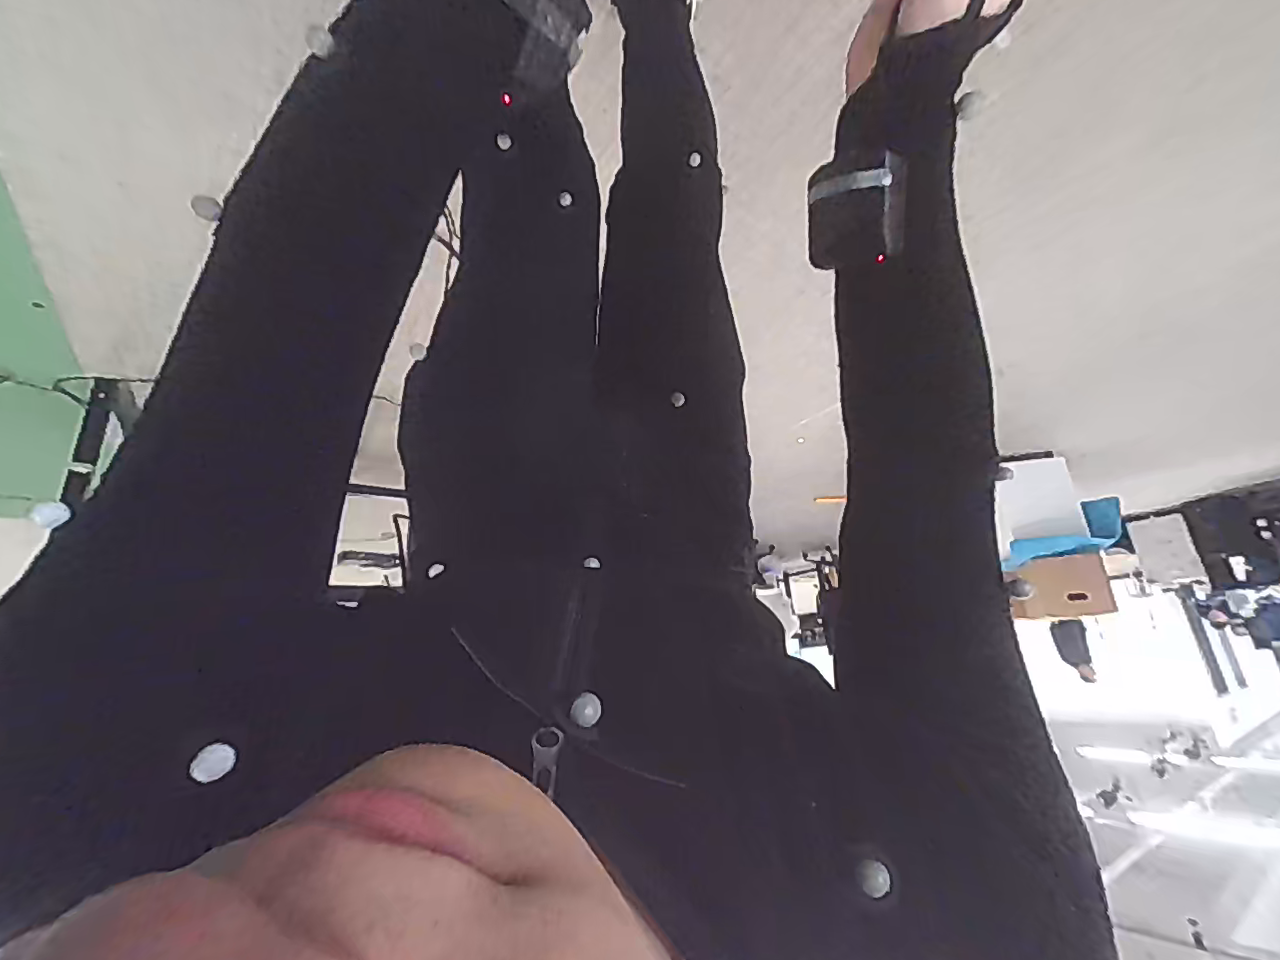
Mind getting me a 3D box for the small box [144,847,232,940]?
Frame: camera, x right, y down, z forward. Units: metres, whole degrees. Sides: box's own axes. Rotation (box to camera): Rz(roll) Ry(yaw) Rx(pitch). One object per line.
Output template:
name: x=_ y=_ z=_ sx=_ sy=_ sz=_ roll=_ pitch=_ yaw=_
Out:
small box: x=-1.356 y=1.234 z=1.630 sx=0.179 sy=0.176 sz=0.168 roll=9 pitch=158 yaw=-35
